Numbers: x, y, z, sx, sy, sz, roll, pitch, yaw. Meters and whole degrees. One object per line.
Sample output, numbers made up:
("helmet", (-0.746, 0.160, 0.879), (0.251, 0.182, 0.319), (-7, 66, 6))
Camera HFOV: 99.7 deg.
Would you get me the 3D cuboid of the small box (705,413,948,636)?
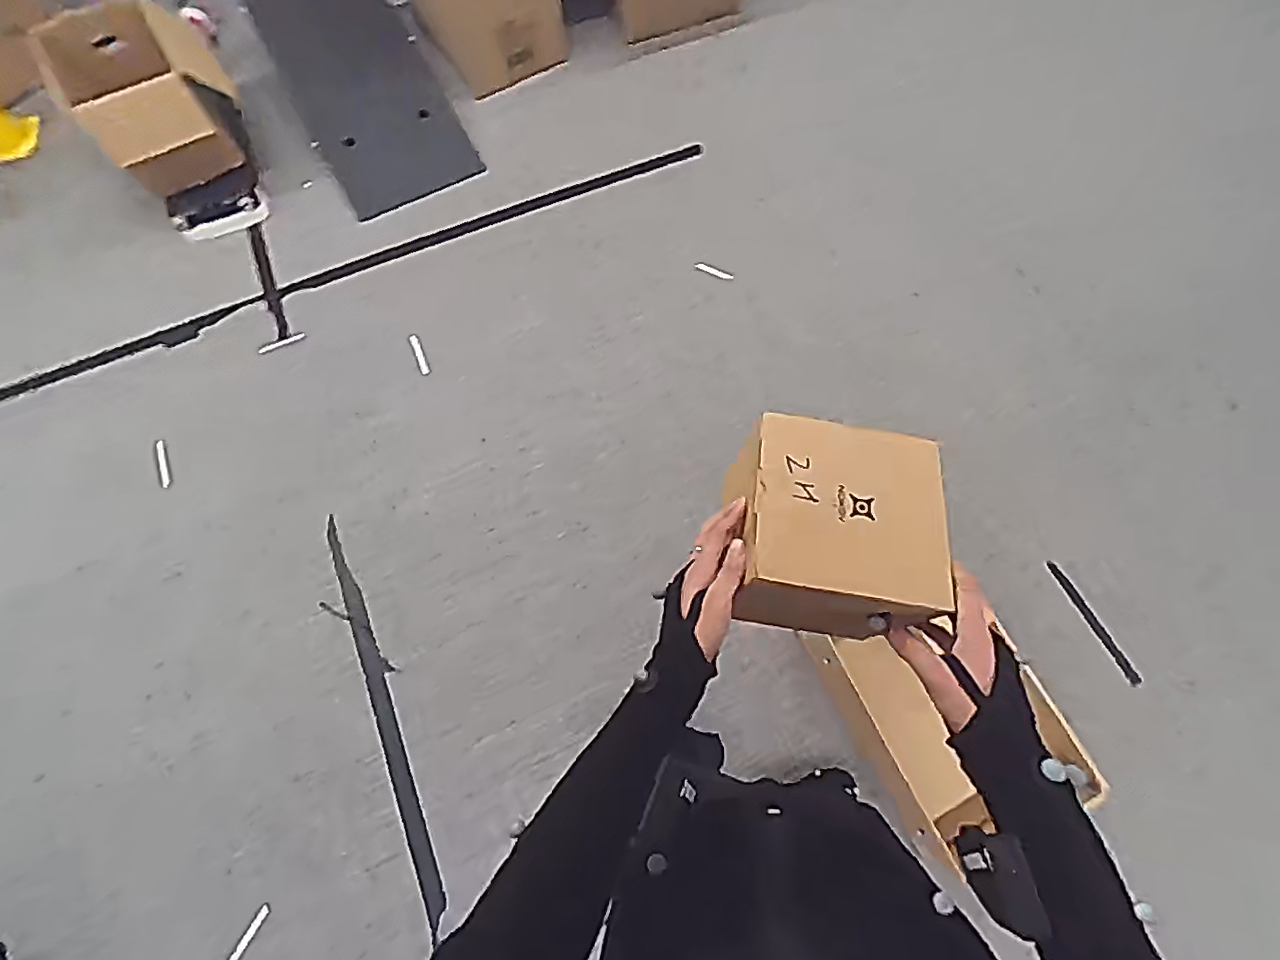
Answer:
("small box", (0.173, 0.056, 0.549), (0.179, 0.176, 0.168), (9, 65, -1))
